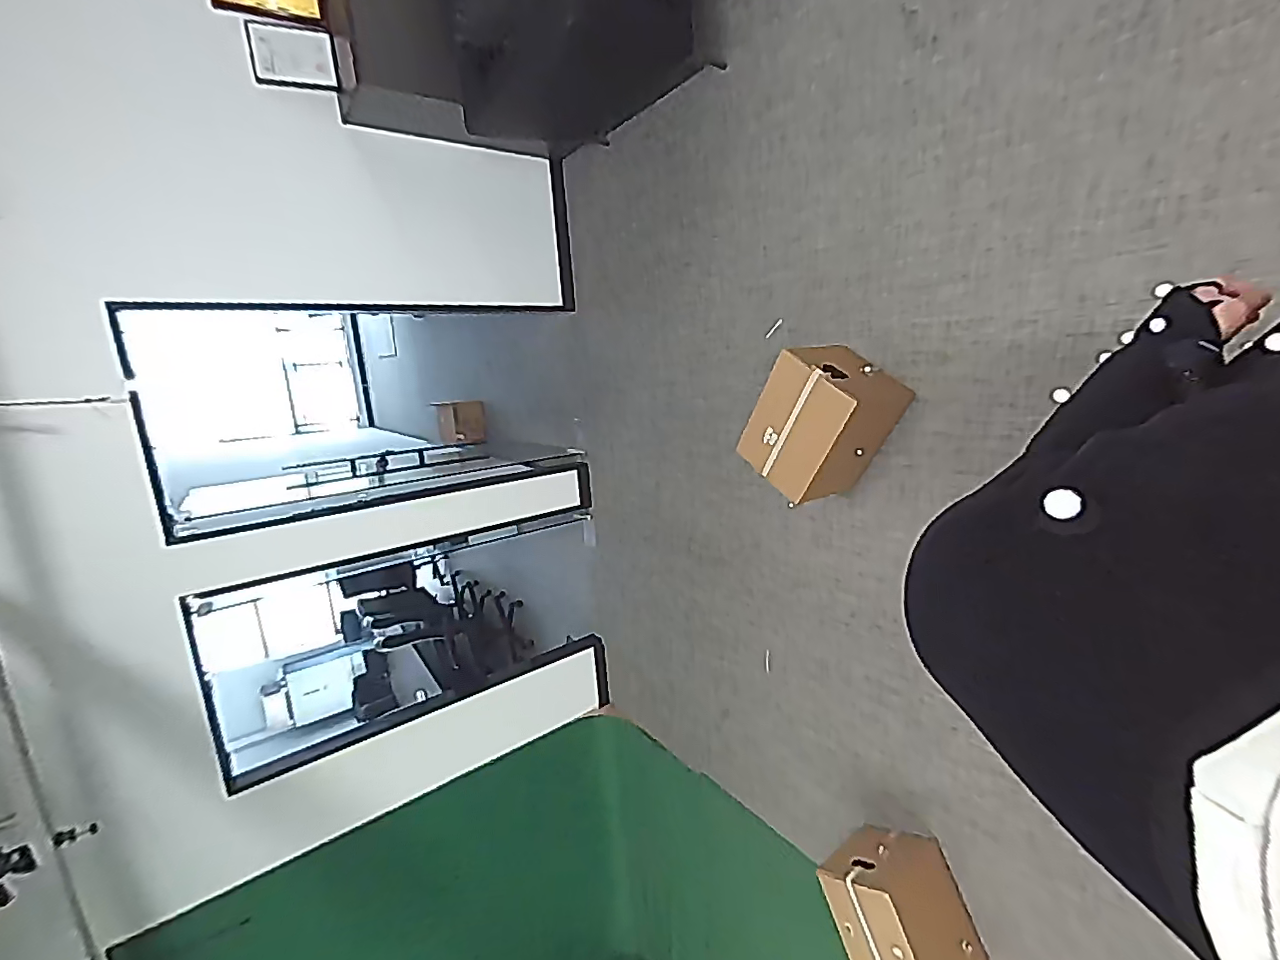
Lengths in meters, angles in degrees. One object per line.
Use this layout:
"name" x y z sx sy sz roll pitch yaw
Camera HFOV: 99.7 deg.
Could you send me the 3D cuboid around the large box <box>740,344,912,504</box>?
"large box" 0.598 -0.195 1.783 0.320 0.320 0.408 50 138 35
